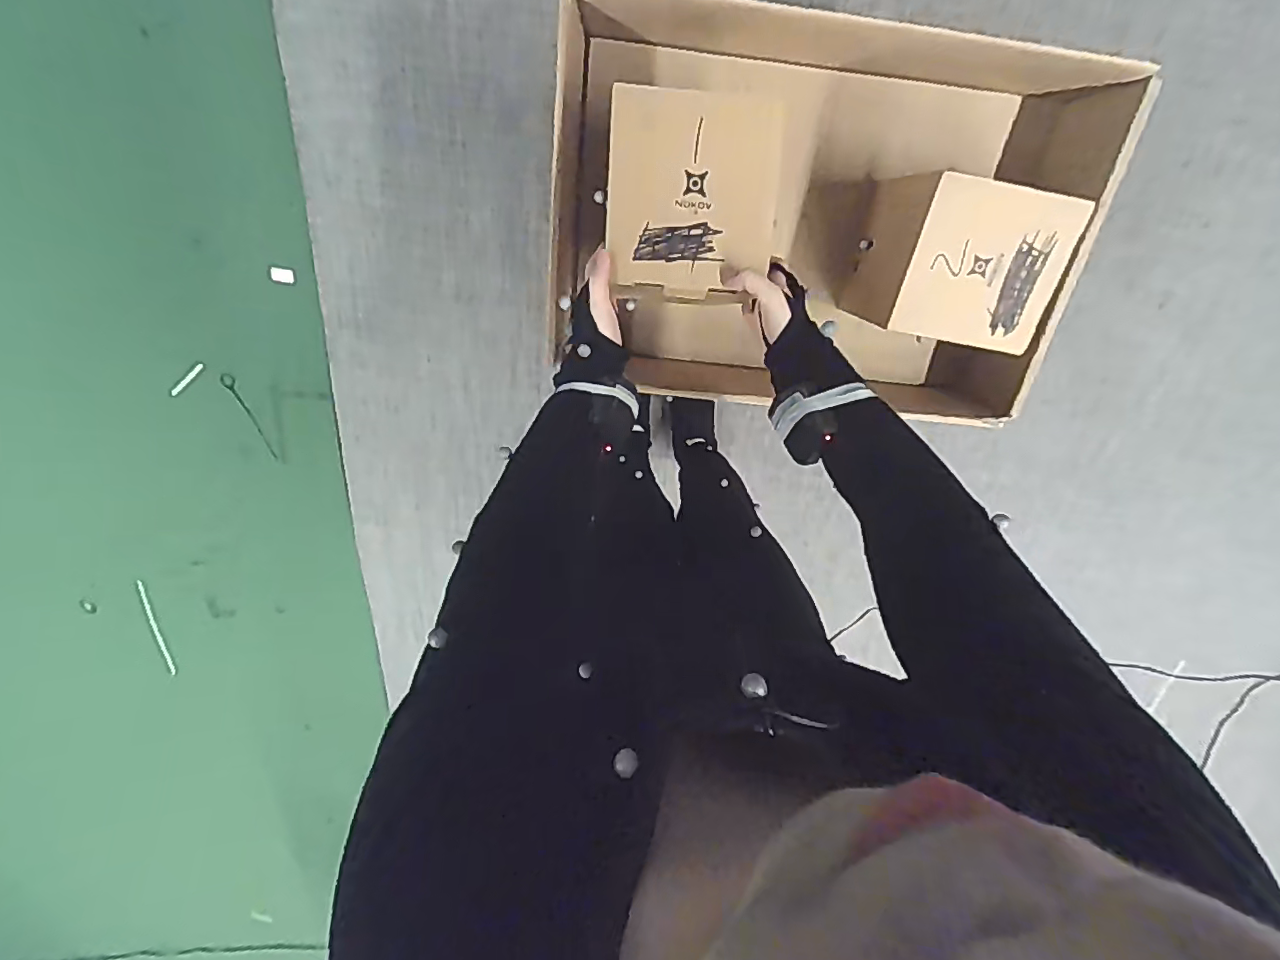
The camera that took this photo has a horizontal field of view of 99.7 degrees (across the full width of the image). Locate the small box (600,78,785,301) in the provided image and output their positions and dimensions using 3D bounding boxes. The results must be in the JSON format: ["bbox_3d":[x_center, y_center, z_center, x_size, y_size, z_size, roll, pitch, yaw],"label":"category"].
[{"bbox_3d":[0.046,-0.297,0.595,0.168,0.176,0.179,3,103,-3],"label":"small box"}]
